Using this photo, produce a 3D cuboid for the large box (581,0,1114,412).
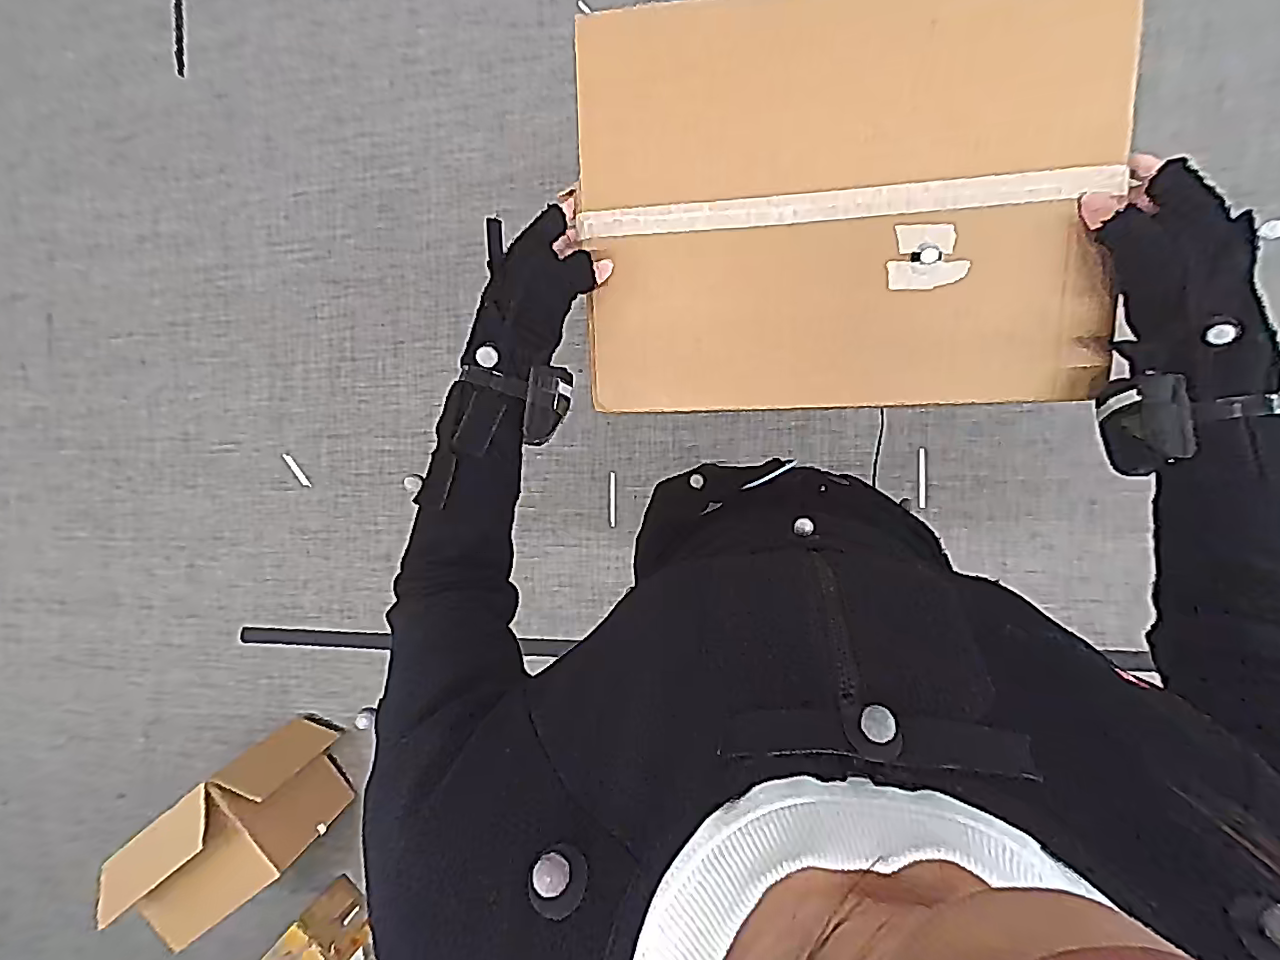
[{"bbox_3d":[0.172,-0.241,0.583,0.408,0.320,0.320,-1,99,8],"label":"large box"}]
